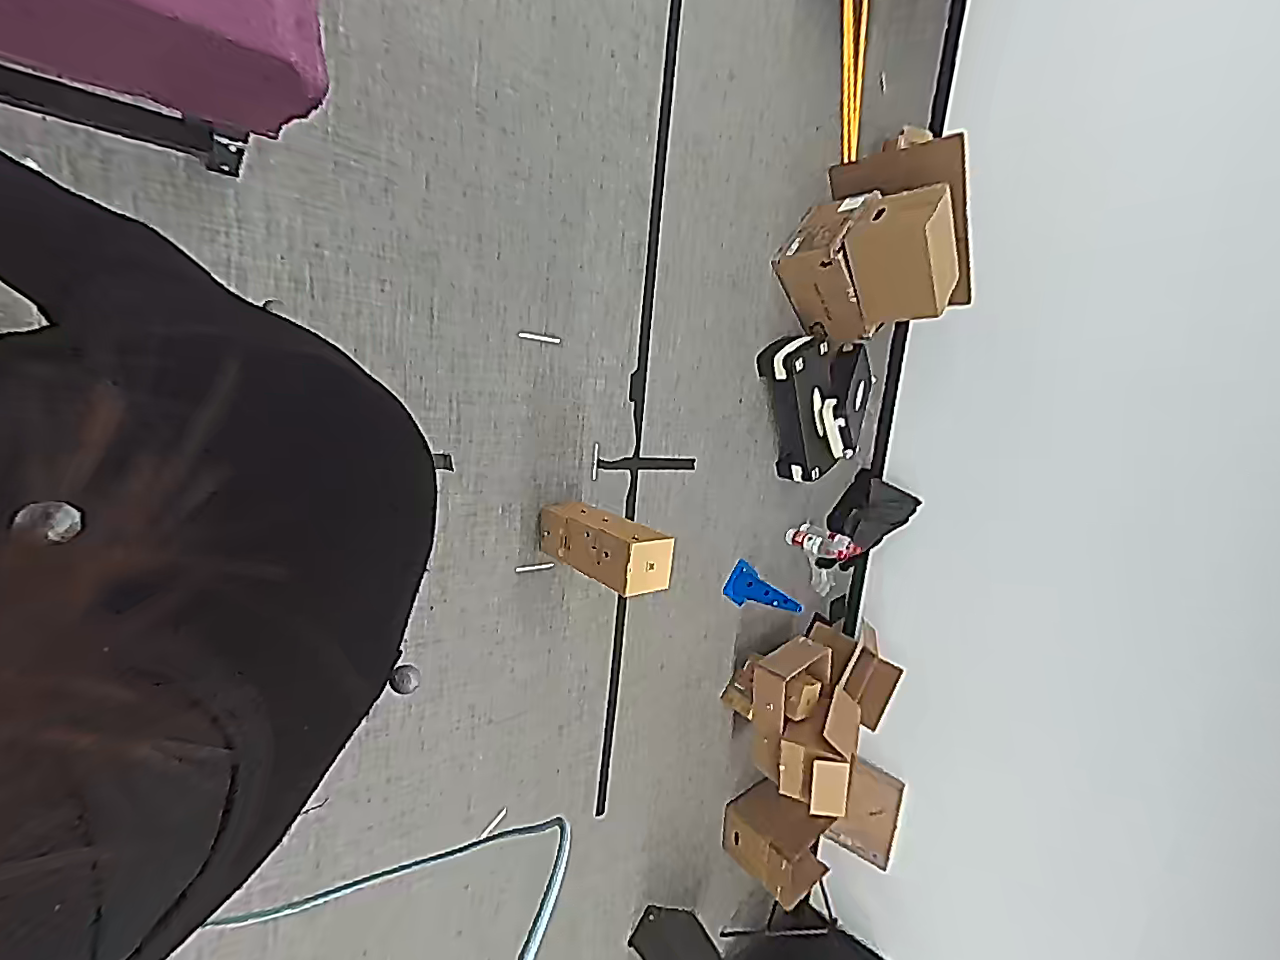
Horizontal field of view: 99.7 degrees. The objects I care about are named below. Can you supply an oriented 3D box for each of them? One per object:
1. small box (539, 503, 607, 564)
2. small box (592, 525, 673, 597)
[{"bbox_3d":[-0.238,0.183,1.915,0.179,0.176,0.168,-6,105,-38],"label":"small box"},{"bbox_3d":[-0.025,0.243,1.673,0.179,0.176,0.168,-2,103,-40],"label":"small box"}]
